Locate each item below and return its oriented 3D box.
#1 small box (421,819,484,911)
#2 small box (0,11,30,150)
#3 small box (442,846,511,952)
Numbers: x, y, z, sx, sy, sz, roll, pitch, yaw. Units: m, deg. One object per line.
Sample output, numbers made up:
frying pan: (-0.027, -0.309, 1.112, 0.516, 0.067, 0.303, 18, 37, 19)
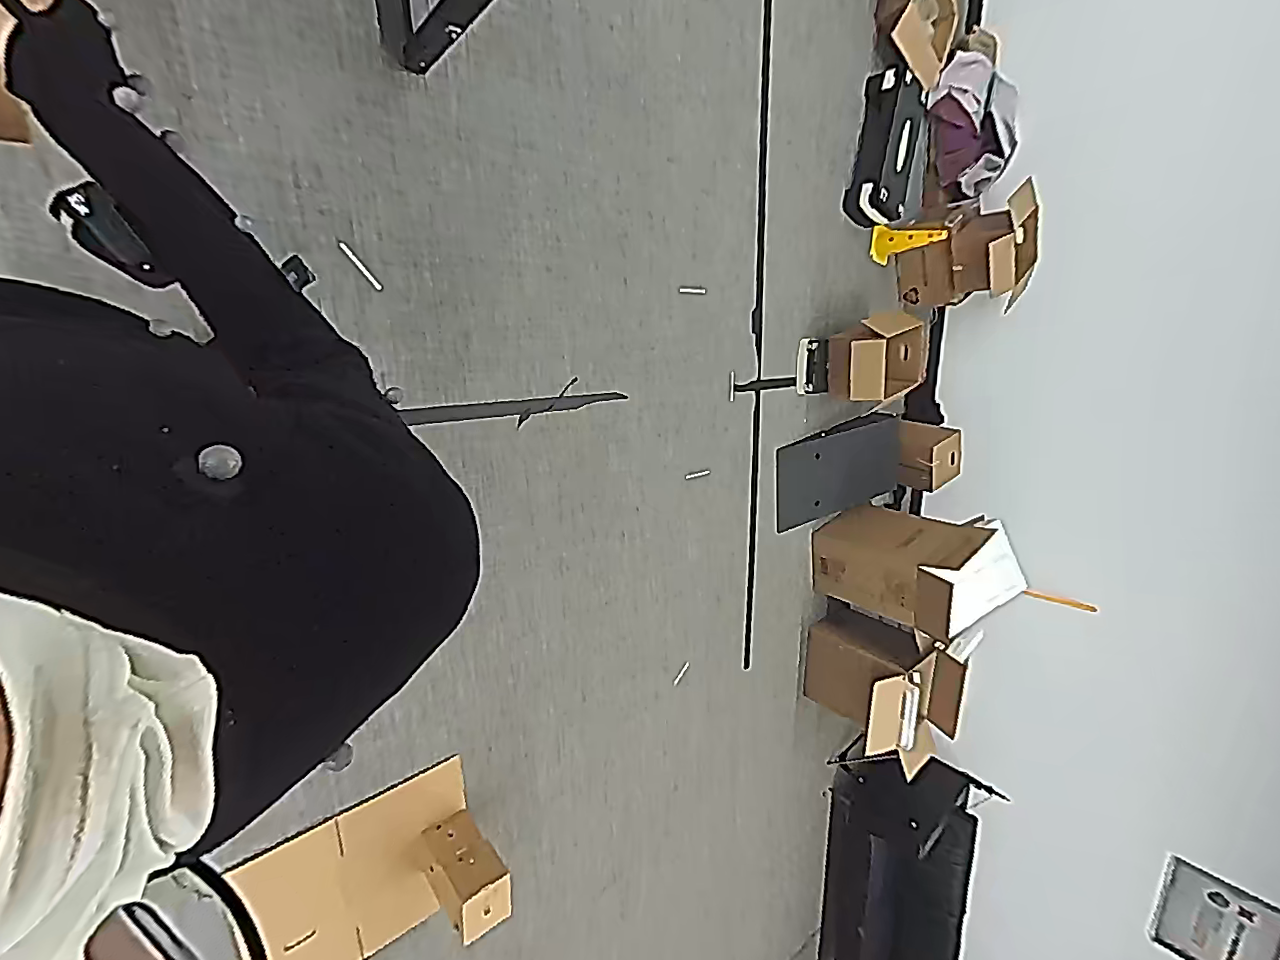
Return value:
small box: (-0.651, 1.326, 1.884, 0.168, 0.176, 0.179, -11, 107, -40)
small box: (-0.579, -0.376, 0.374, 0.168, 0.176, 0.179, -19, 90, -42)
small box: (-0.535, 1.362, 1.771, 0.168, 0.176, 0.179, -9, 107, -41)
